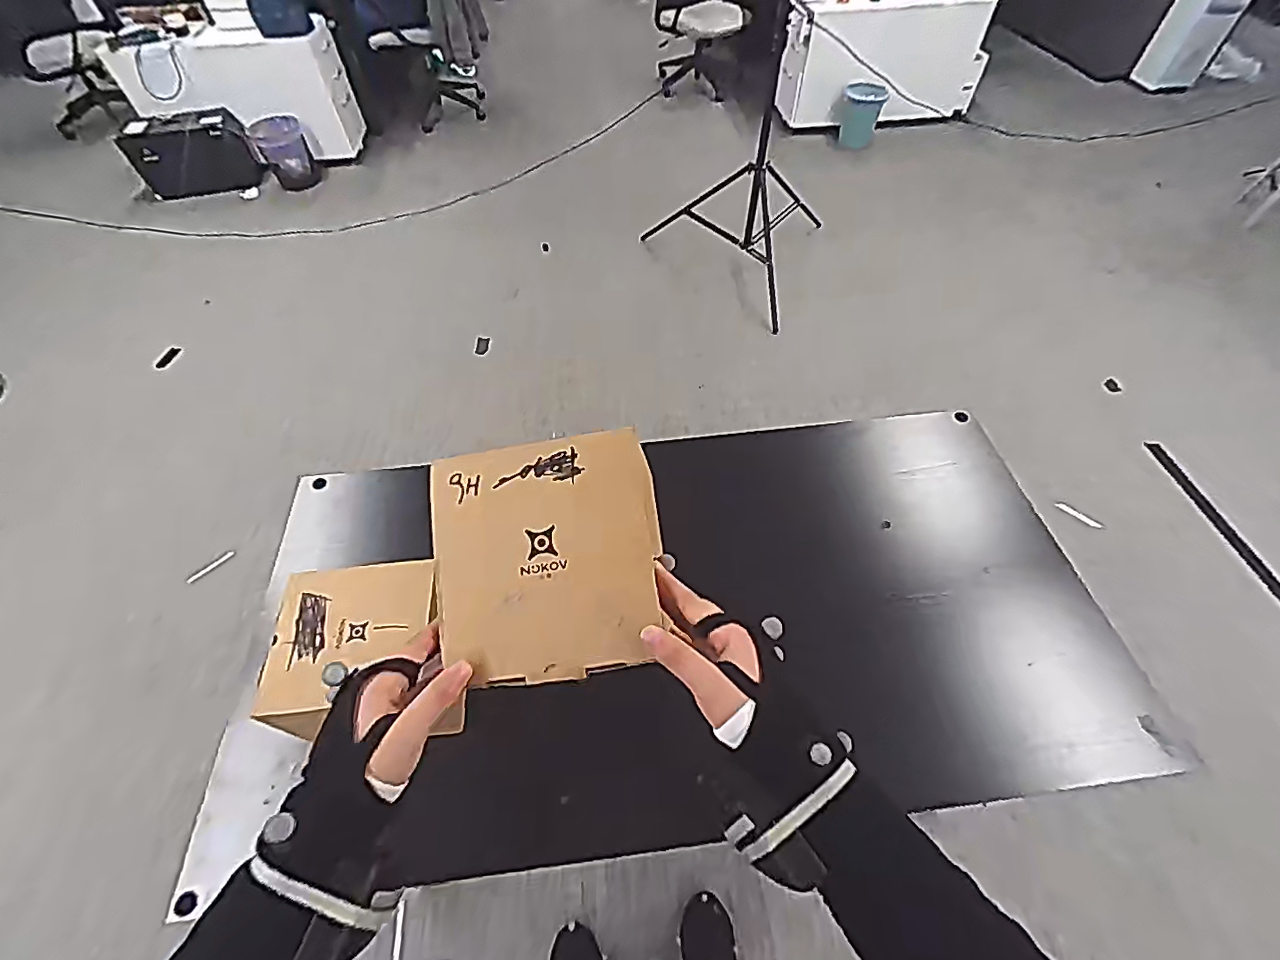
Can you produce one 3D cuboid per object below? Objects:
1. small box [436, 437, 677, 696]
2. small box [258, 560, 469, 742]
[{"bbox_3d":[-0.060,0.075,0.483,0.168,0.176,0.179,-10,80,4],"label":"small box"},{"bbox_3d":[-0.320,0.218,0.677,0.179,0.176,0.168,-5,55,-4],"label":"small box"}]
